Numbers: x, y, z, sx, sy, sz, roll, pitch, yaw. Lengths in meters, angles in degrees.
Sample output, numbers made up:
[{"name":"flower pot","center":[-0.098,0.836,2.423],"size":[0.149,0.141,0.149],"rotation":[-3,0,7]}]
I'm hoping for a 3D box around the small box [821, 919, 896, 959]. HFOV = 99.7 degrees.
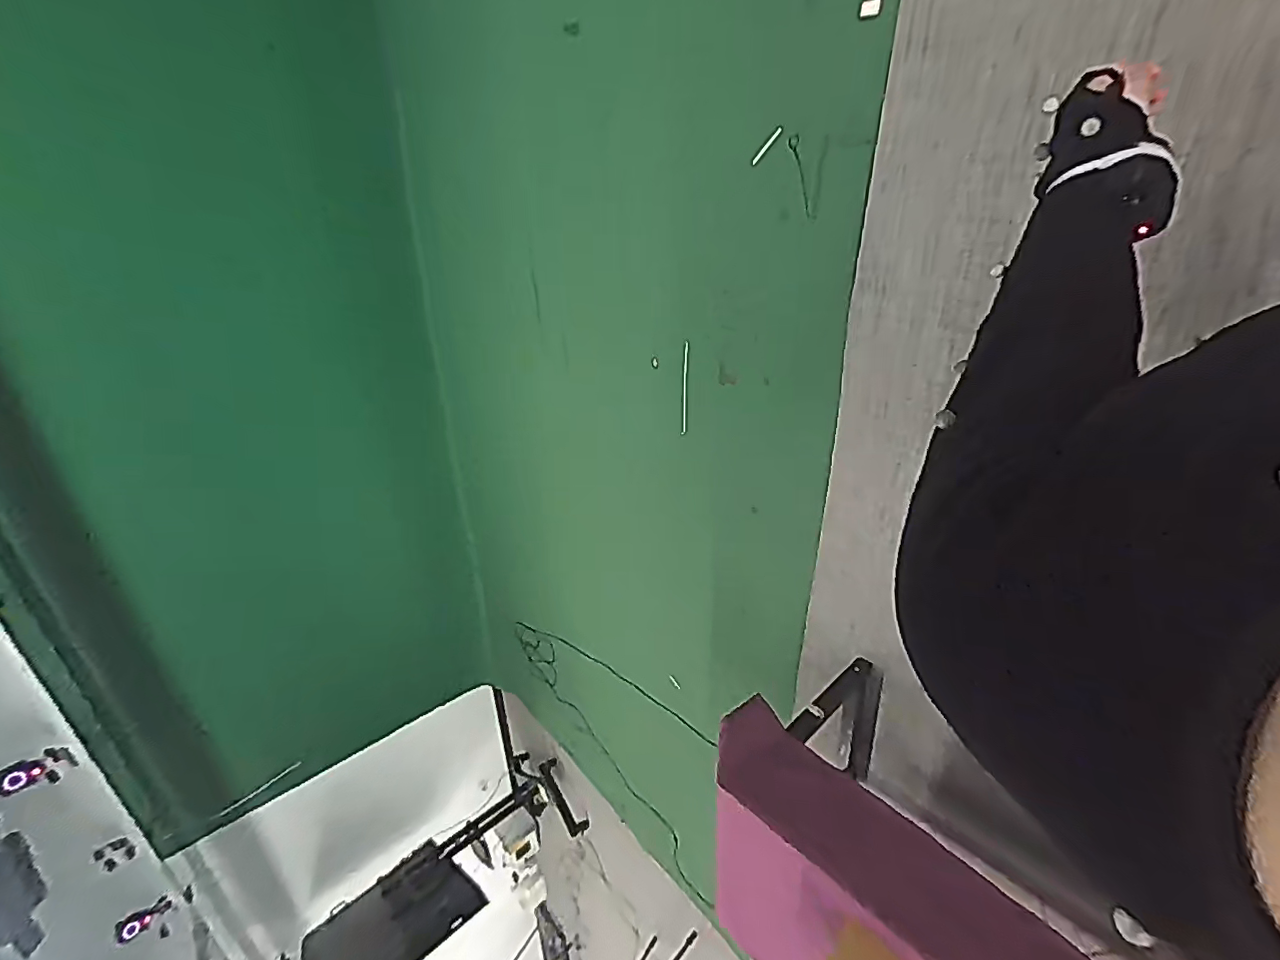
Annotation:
[{"name":"small box","center":[0.465,1.082,1.123],"size":[0.179,0.176,0.168],"rotation":[24,125,44]}]
